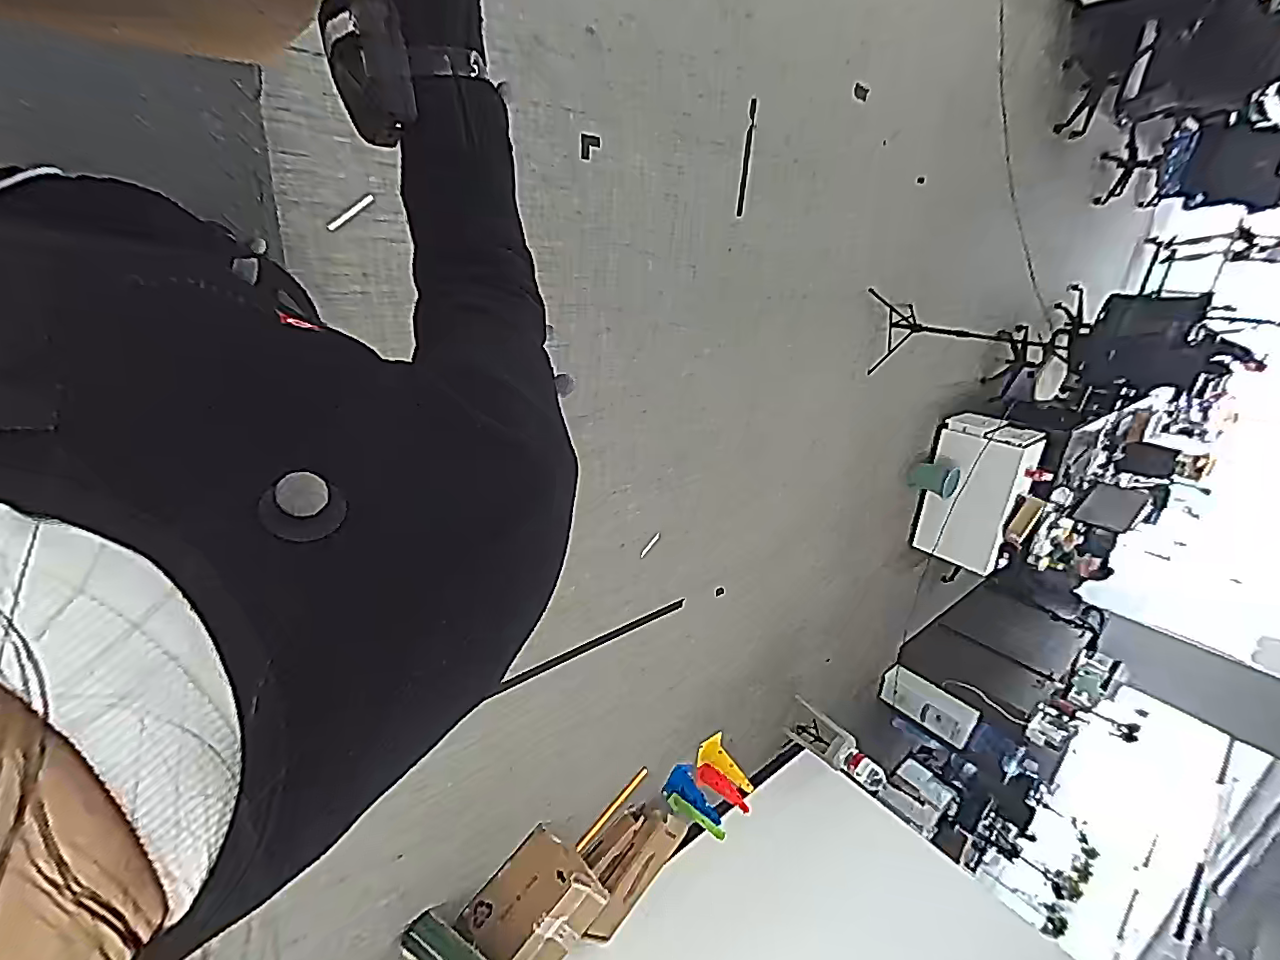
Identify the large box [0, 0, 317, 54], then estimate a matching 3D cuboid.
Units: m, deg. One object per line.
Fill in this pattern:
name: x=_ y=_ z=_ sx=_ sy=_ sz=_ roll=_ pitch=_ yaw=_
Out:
large box: x=-0.404 y=-0.414 z=0.220 sx=0.408 sy=0.320 sz=0.320 roll=-20 pitch=126 yaw=-35
